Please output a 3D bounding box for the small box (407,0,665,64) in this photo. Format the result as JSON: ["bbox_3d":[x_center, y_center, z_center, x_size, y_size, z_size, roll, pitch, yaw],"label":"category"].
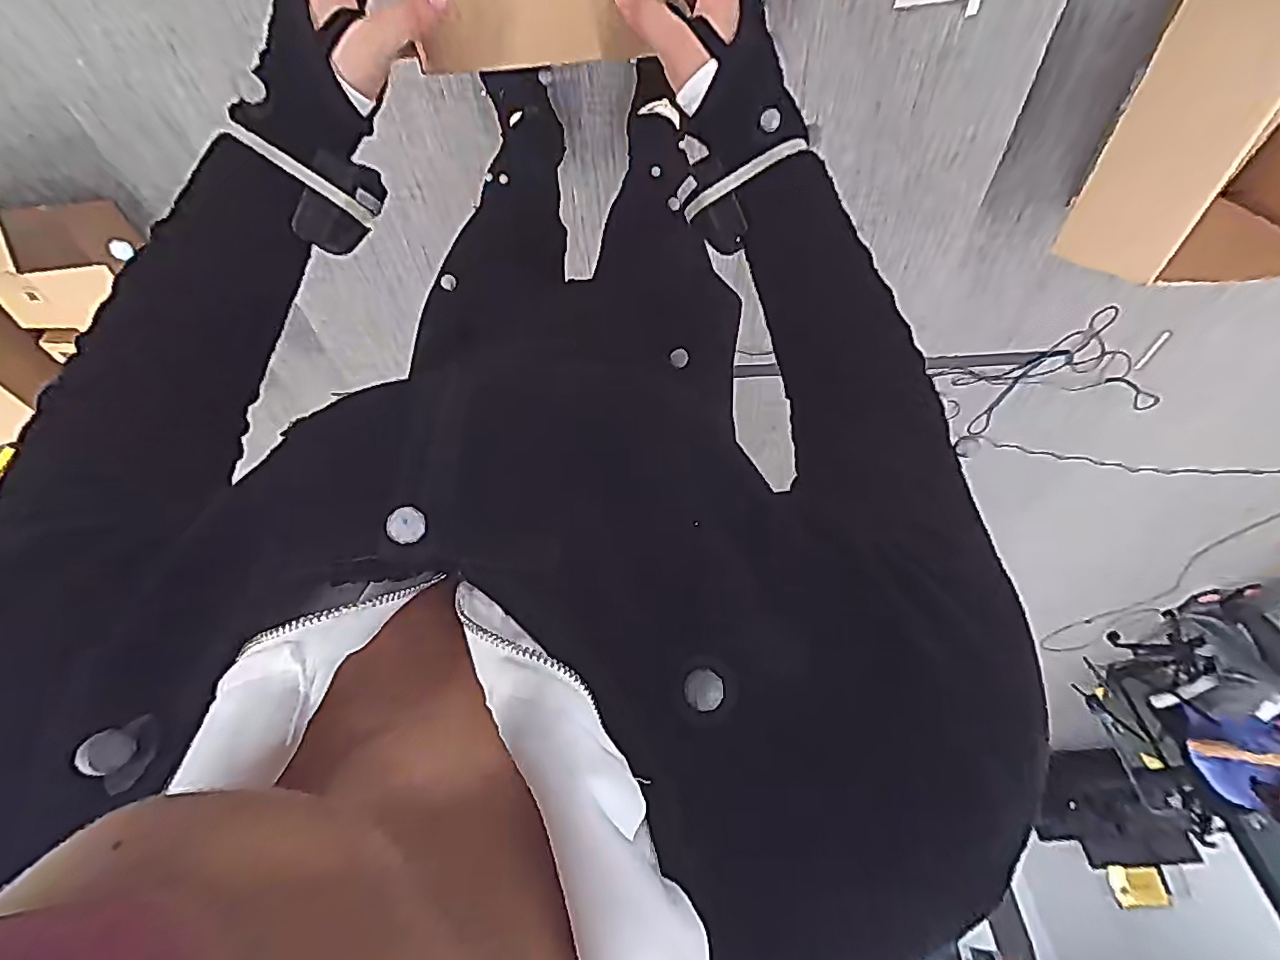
[{"bbox_3d":[-0.074,-0.413,0.385,0.179,0.176,0.168,-4,135,2],"label":"small box"}]
